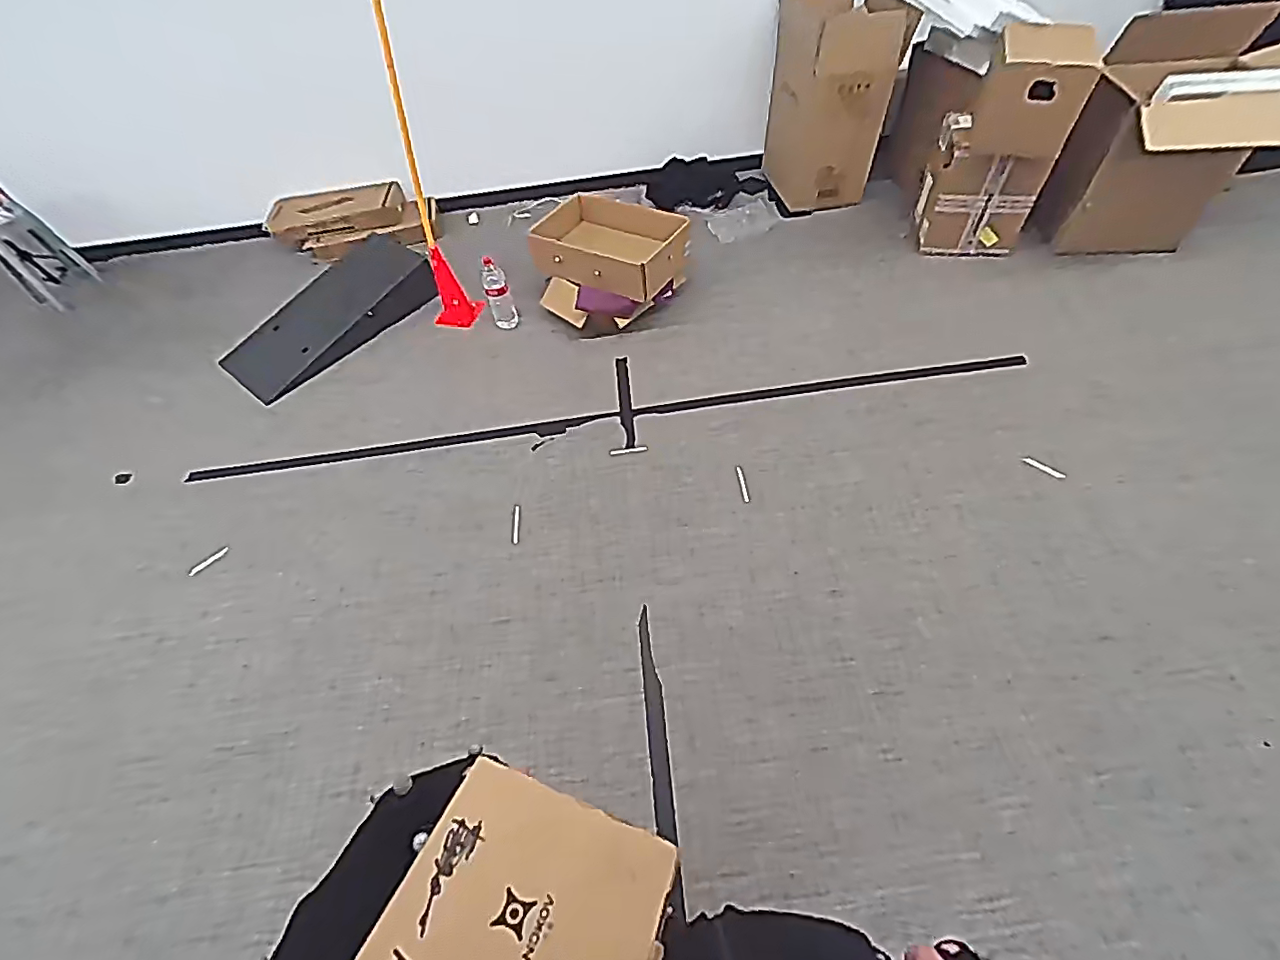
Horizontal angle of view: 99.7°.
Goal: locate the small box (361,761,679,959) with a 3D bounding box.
[{"bbox_3d":[-0.090,0.361,0.413,0.179,0.176,0.168,20,37,9],"label":"small box"}]
